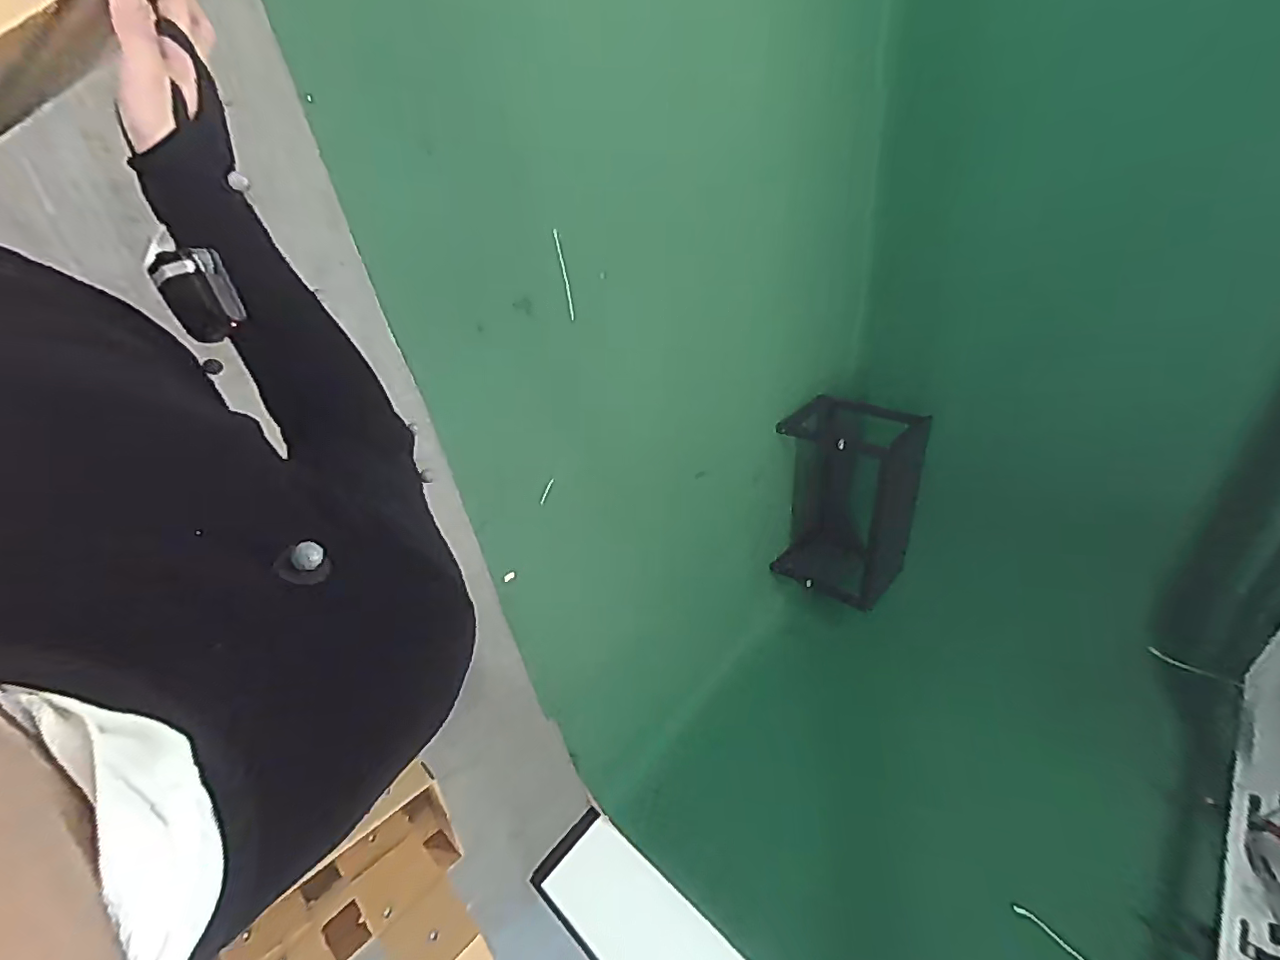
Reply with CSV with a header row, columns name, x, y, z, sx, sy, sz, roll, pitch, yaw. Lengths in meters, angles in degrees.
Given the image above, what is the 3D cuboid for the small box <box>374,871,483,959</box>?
name,x,y,z,sx,sy,sz,roll,pitch,yaw
small box,-0.500,1.084,1.268,0.179,0.176,0.168,-29,128,-37

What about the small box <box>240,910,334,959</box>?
name,x,y,z,sx,sy,sz,roll,pitch,yaw
small box,-0.798,1.149,1.225,0.179,0.176,0.168,-23,124,-38

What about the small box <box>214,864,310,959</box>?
name,x,y,z,sx,sy,sz,roll,pitch,yaw
small box,-0.914,1.099,1.329,0.168,0.176,0.179,-22,124,-39
